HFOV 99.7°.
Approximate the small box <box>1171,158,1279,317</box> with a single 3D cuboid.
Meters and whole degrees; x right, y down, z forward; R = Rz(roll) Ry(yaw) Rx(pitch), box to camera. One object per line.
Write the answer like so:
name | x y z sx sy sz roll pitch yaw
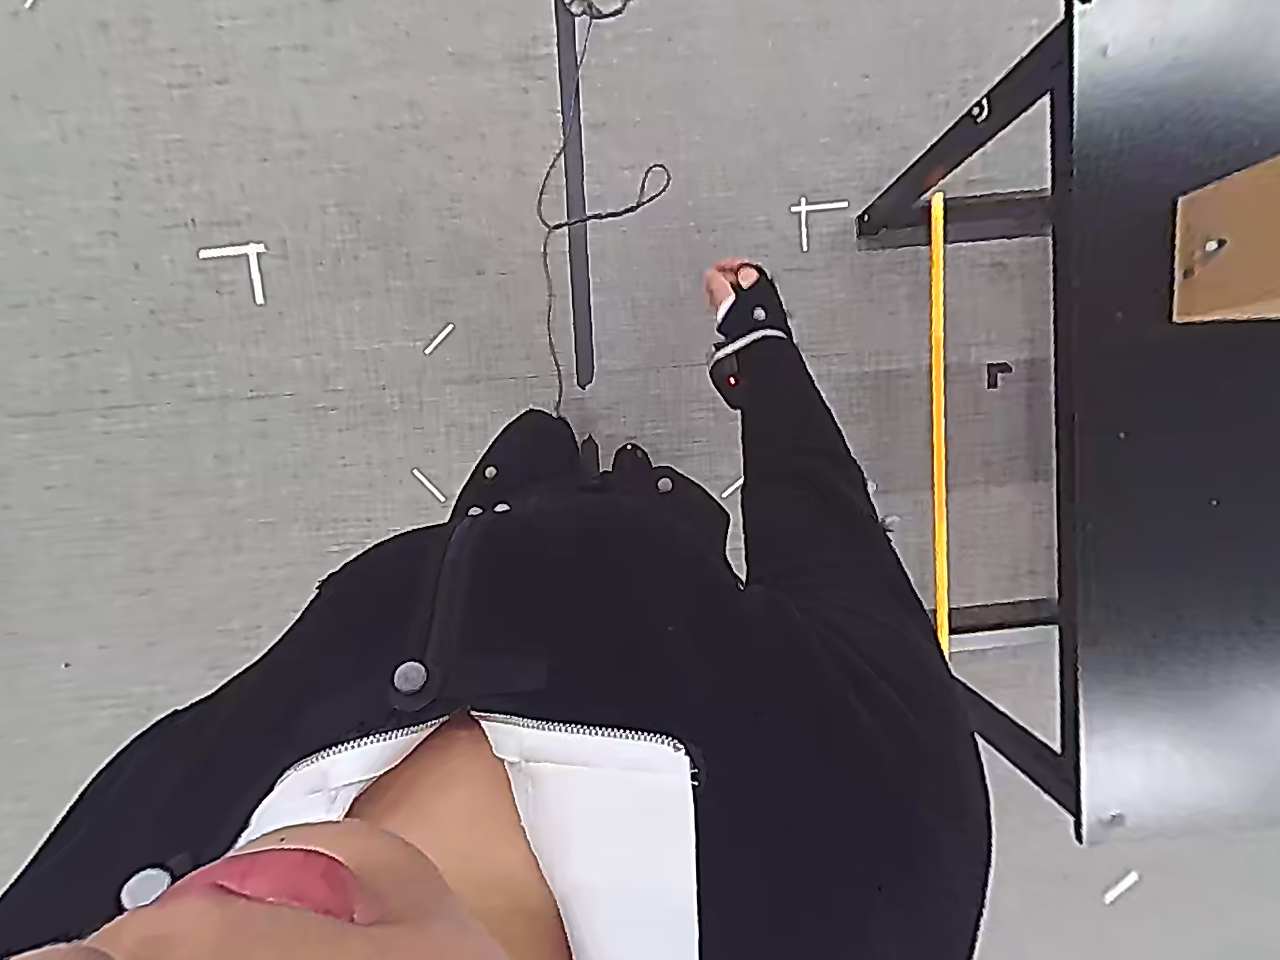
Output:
small box | 0.817 -0.301 0.658 0.179 0.176 0.168 -3 95 0
